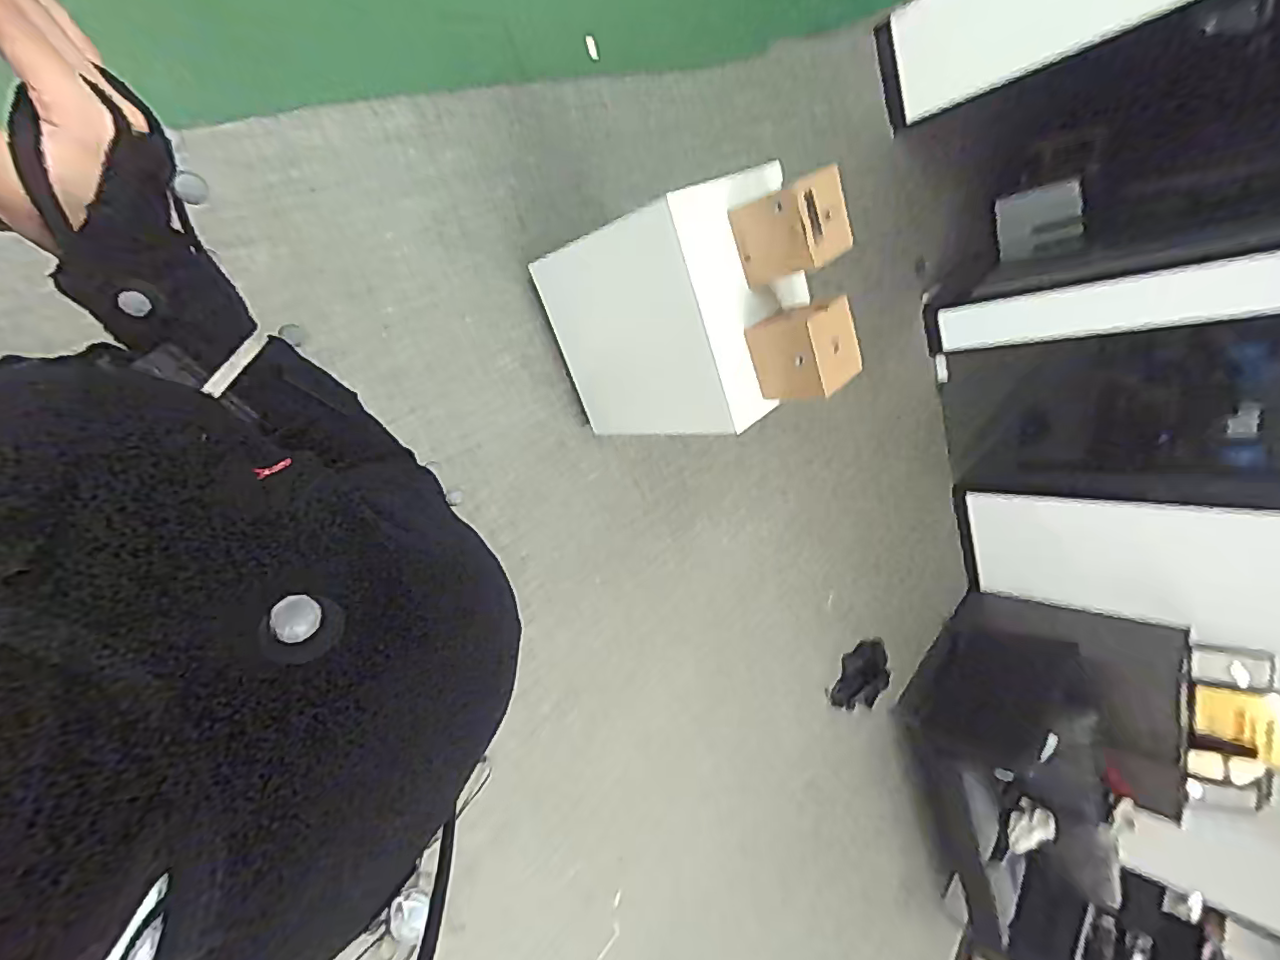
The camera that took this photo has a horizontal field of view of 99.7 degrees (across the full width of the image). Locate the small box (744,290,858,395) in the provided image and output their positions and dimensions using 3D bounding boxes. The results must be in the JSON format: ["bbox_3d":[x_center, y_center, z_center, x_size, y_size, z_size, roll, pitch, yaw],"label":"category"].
[{"bbox_3d":[0.359,-0.302,1.217,0.168,0.176,0.179,-36,116,-31],"label":"small box"}]
